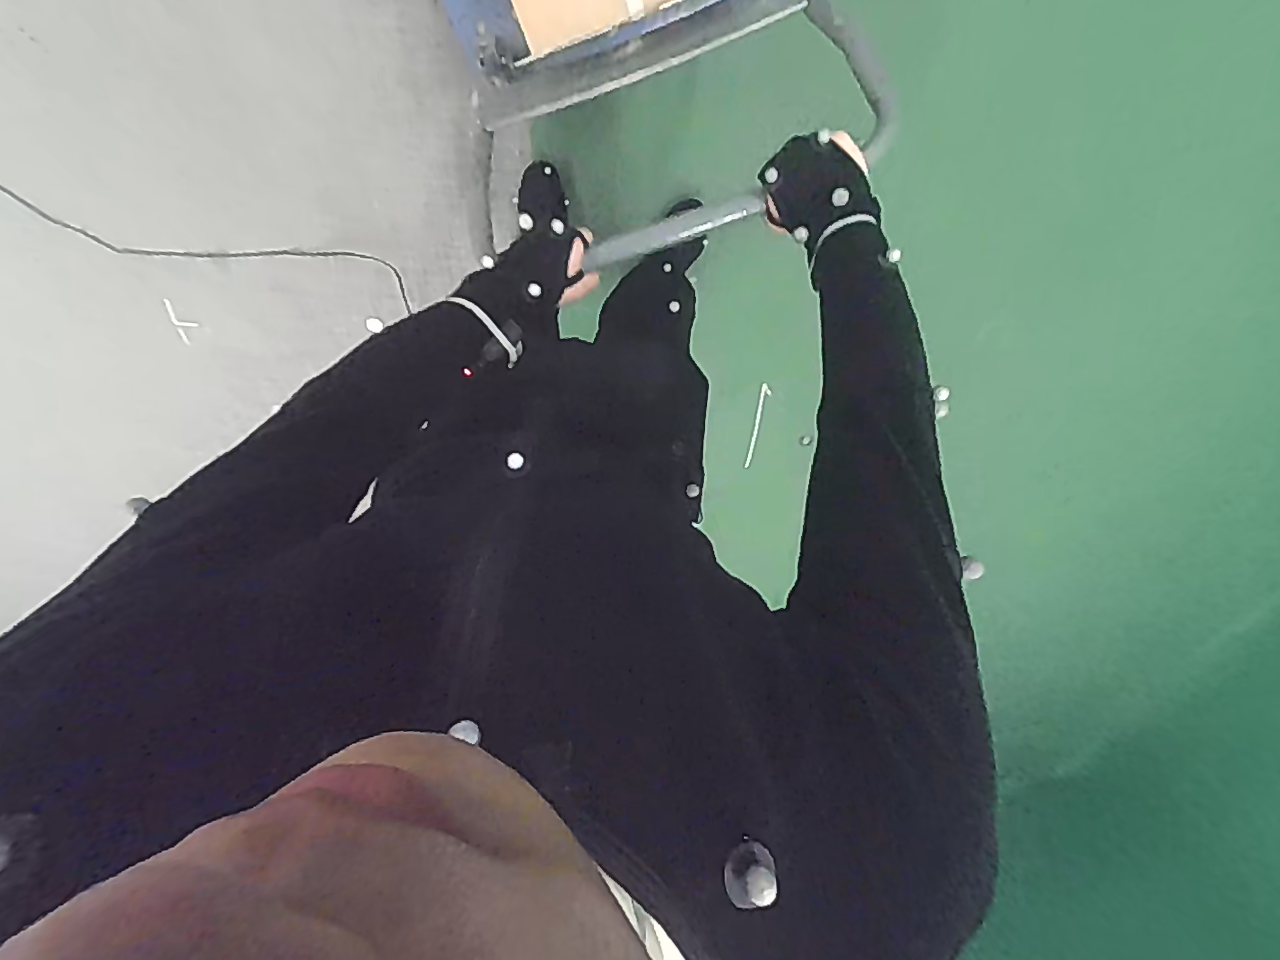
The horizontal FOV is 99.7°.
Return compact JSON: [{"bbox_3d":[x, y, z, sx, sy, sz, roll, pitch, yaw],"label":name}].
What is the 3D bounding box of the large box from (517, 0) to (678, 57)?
[{"bbox_3d":[-0.070,-0.873,0.696,0.320,0.320,0.408,-15,140,9],"label":"large box"}]
